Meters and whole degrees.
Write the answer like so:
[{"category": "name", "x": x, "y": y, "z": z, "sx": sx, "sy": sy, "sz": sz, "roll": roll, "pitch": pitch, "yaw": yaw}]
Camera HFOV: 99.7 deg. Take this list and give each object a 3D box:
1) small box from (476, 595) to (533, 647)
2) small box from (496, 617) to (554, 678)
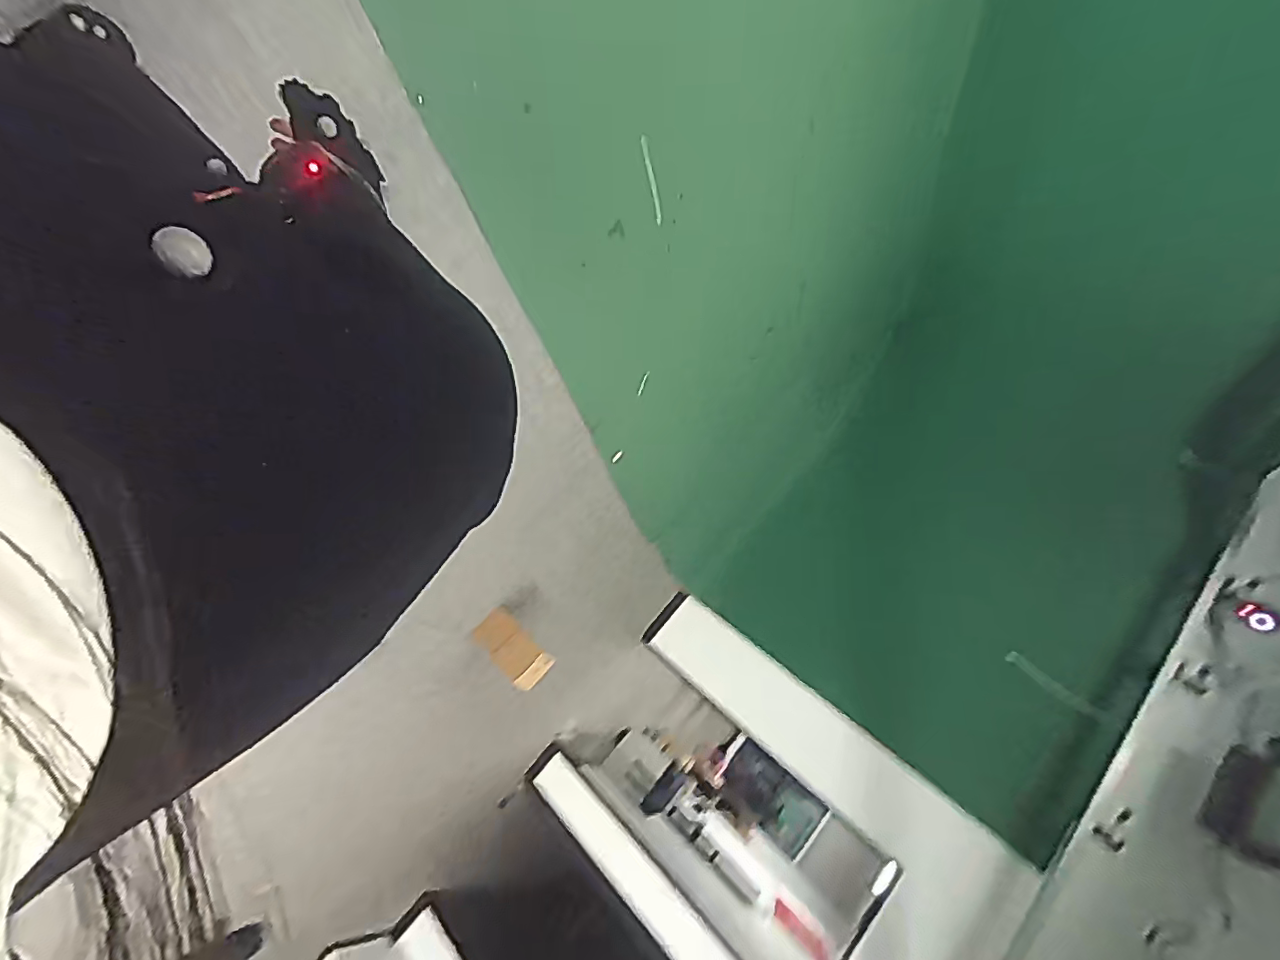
[{"category": "small box", "x": -0.639, "y": 0.672, "z": 2.523, "sx": 0.179, "sy": 0.176, "sz": 0.168, "roll": -48, "pitch": 151, "yaw": -15}, {"category": "small box", "x": -0.524, "y": 0.755, "z": 2.440, "sx": 0.179, "sy": 0.176, "sz": 0.168, "roll": -45, "pitch": 150, "yaw": -16}]
